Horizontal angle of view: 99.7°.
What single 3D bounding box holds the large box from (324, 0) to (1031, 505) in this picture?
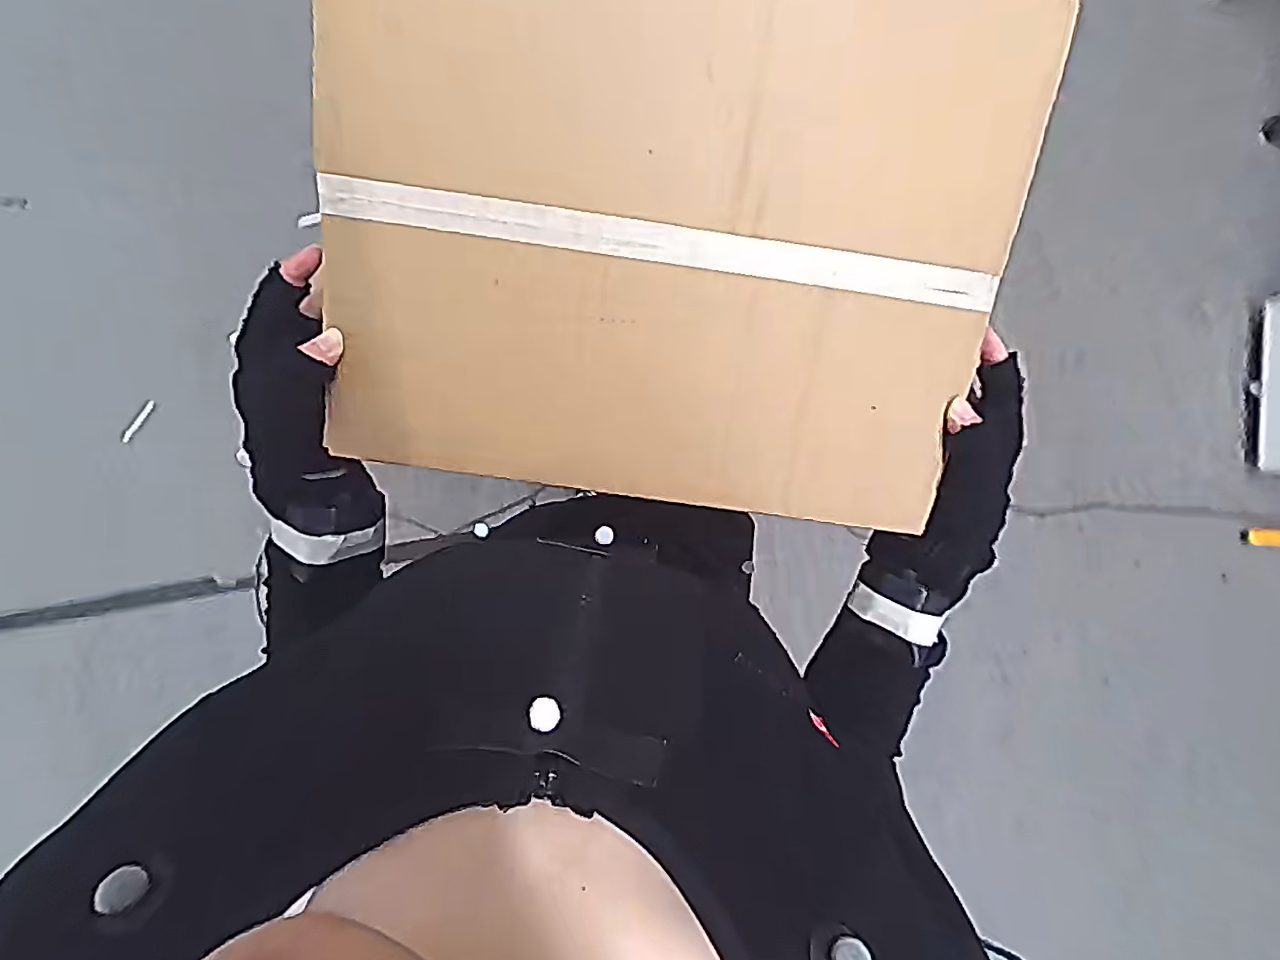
[{"bbox_3d":[0.006,-0.185,0.478,0.408,0.320,0.320,6,106,-2],"label":"large box"}]
